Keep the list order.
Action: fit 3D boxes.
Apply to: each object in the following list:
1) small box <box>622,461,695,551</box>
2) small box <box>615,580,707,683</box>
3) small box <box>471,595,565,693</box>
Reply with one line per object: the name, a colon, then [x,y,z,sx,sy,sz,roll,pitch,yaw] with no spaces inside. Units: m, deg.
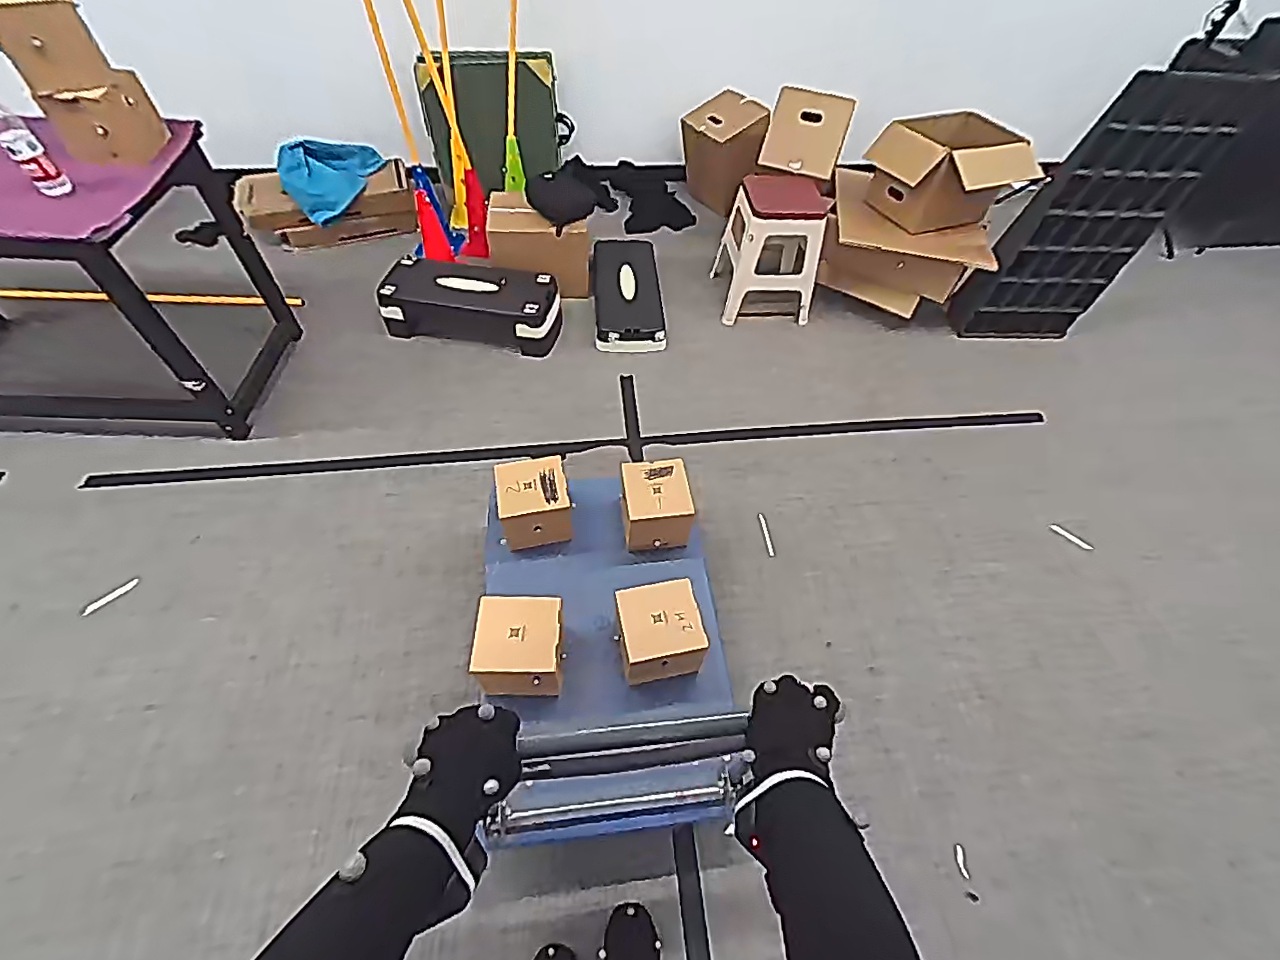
small box: [0.042,0.071,1.446,0.168,0.176,0.179,-5,56,-7]
small box: [0.041,0.351,1.243,0.179,0.176,0.168,-8,55,-9]
small box: [-0.263,0.371,1.209,0.179,0.176,0.168,2,53,-4]
